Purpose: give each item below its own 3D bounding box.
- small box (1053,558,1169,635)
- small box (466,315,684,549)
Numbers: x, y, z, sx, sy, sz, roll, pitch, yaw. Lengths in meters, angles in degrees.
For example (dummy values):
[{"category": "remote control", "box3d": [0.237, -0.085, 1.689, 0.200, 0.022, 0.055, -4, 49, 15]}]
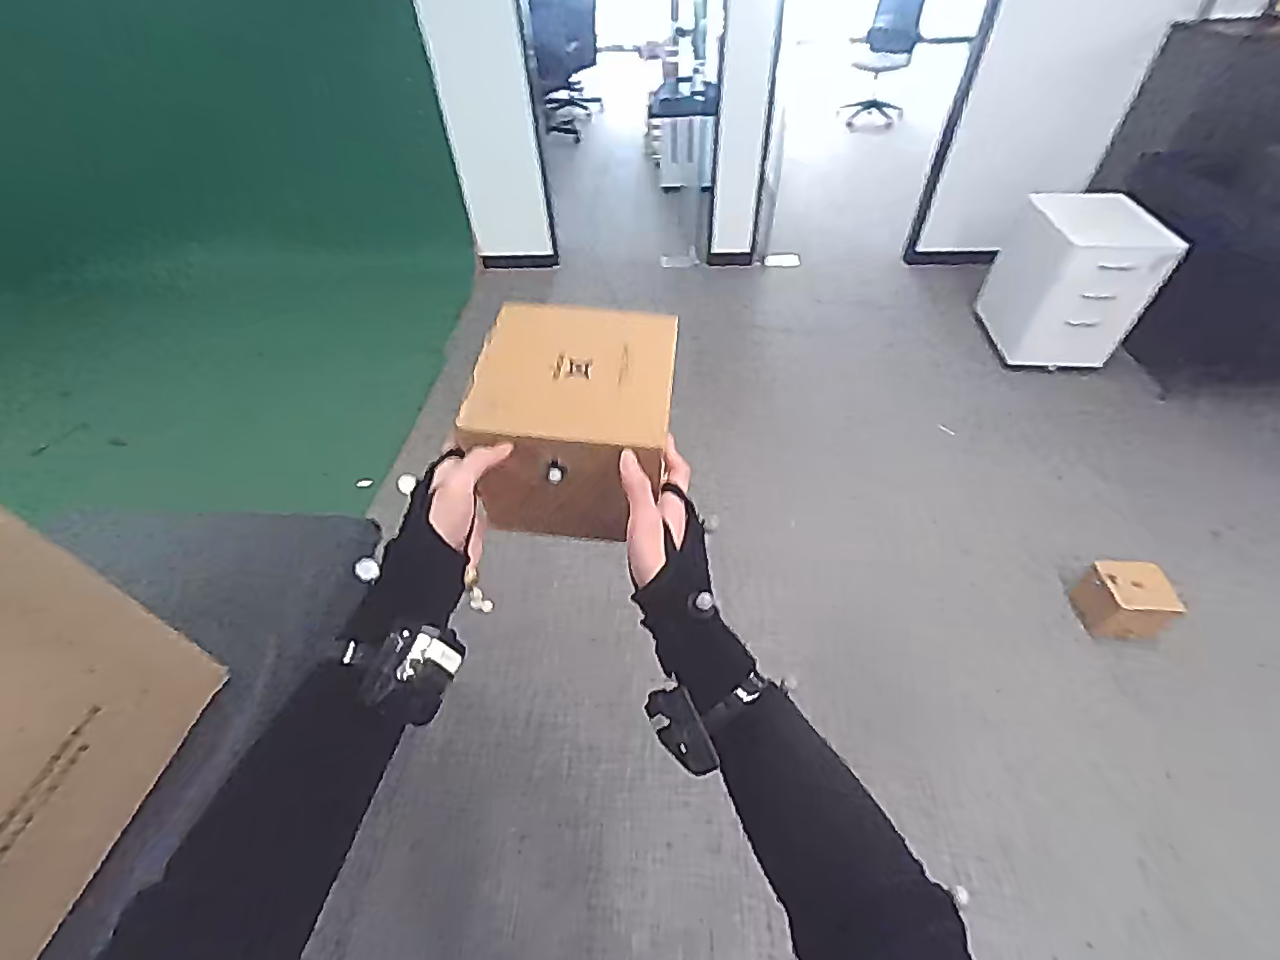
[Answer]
[{"category": "small box", "box3d": [1.422, 0.358, 1.647, 0.179, 0.176, 0.168, 3, 47, 4]}, {"category": "small box", "box3d": [-0.054, -0.043, 0.557, 0.179, 0.176, 0.168, 7, 54, 1]}]
